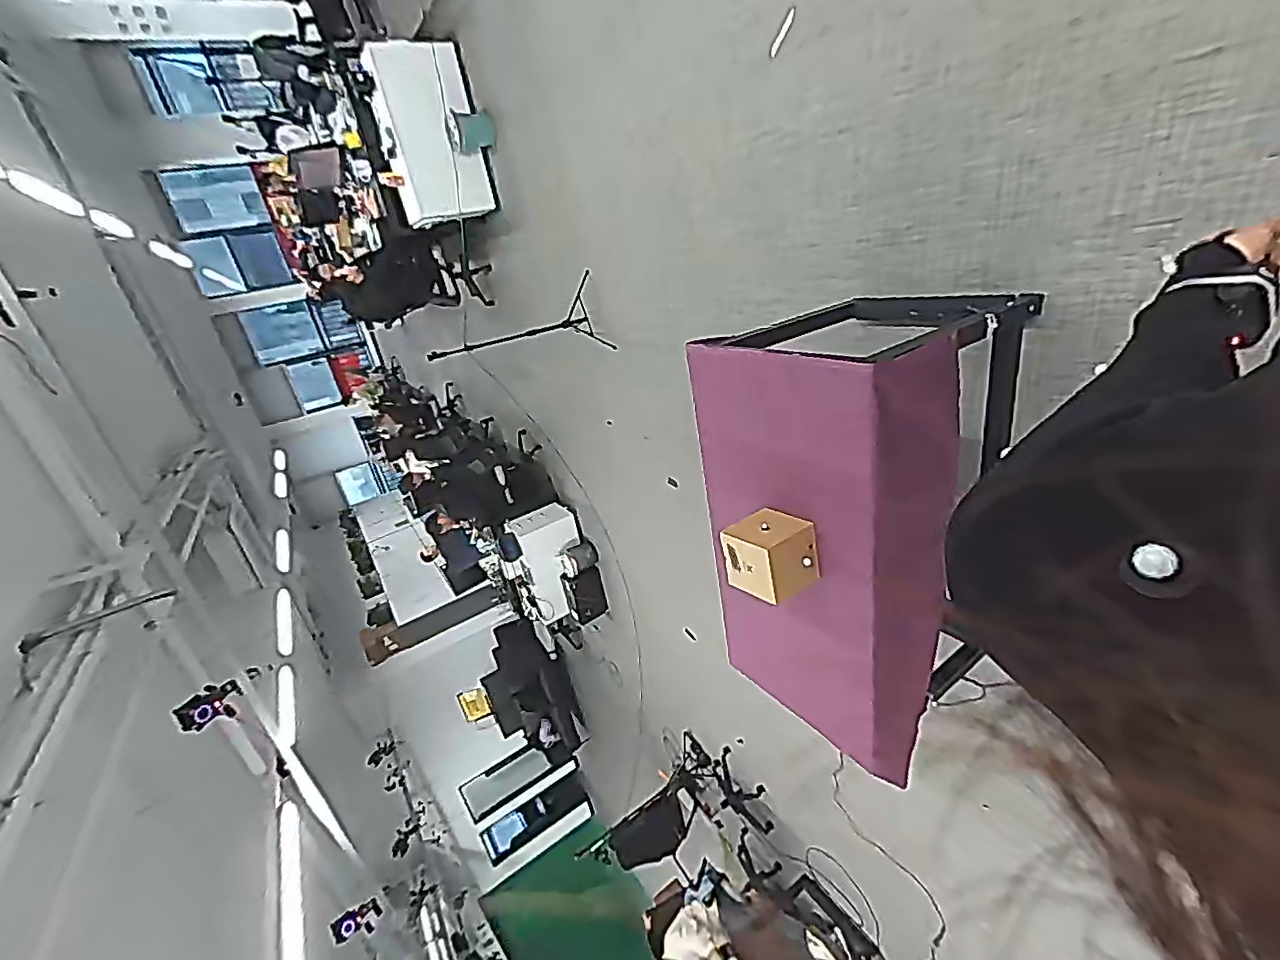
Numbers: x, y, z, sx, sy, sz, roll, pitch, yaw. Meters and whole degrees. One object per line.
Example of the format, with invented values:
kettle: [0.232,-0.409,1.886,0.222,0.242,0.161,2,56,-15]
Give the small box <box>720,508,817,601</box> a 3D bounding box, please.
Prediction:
small box: [0.340,0.187,1.432,0.179,0.176,0.168,18,127,55]
